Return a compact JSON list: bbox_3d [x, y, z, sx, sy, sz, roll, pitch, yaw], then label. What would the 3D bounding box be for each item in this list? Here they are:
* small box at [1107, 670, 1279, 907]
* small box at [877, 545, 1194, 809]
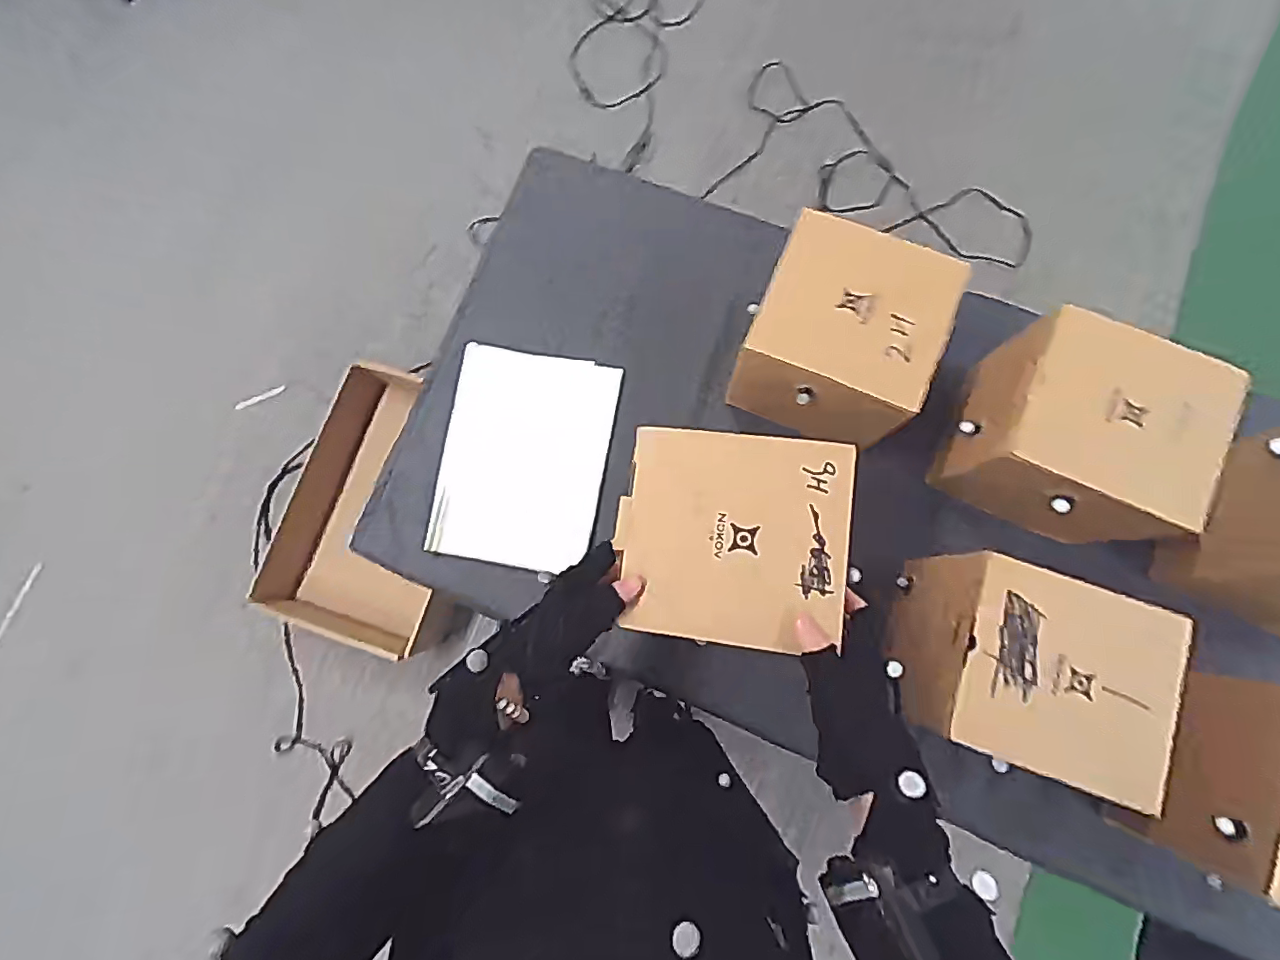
[{"bbox_3d":[0.593,0.295,0.500,0.168,0.176,0.179,26,81,7],"label":"small box"},{"bbox_3d":[0.362,0.176,0.529,0.179,0.176,0.168,20,80,5],"label":"small box"}]
